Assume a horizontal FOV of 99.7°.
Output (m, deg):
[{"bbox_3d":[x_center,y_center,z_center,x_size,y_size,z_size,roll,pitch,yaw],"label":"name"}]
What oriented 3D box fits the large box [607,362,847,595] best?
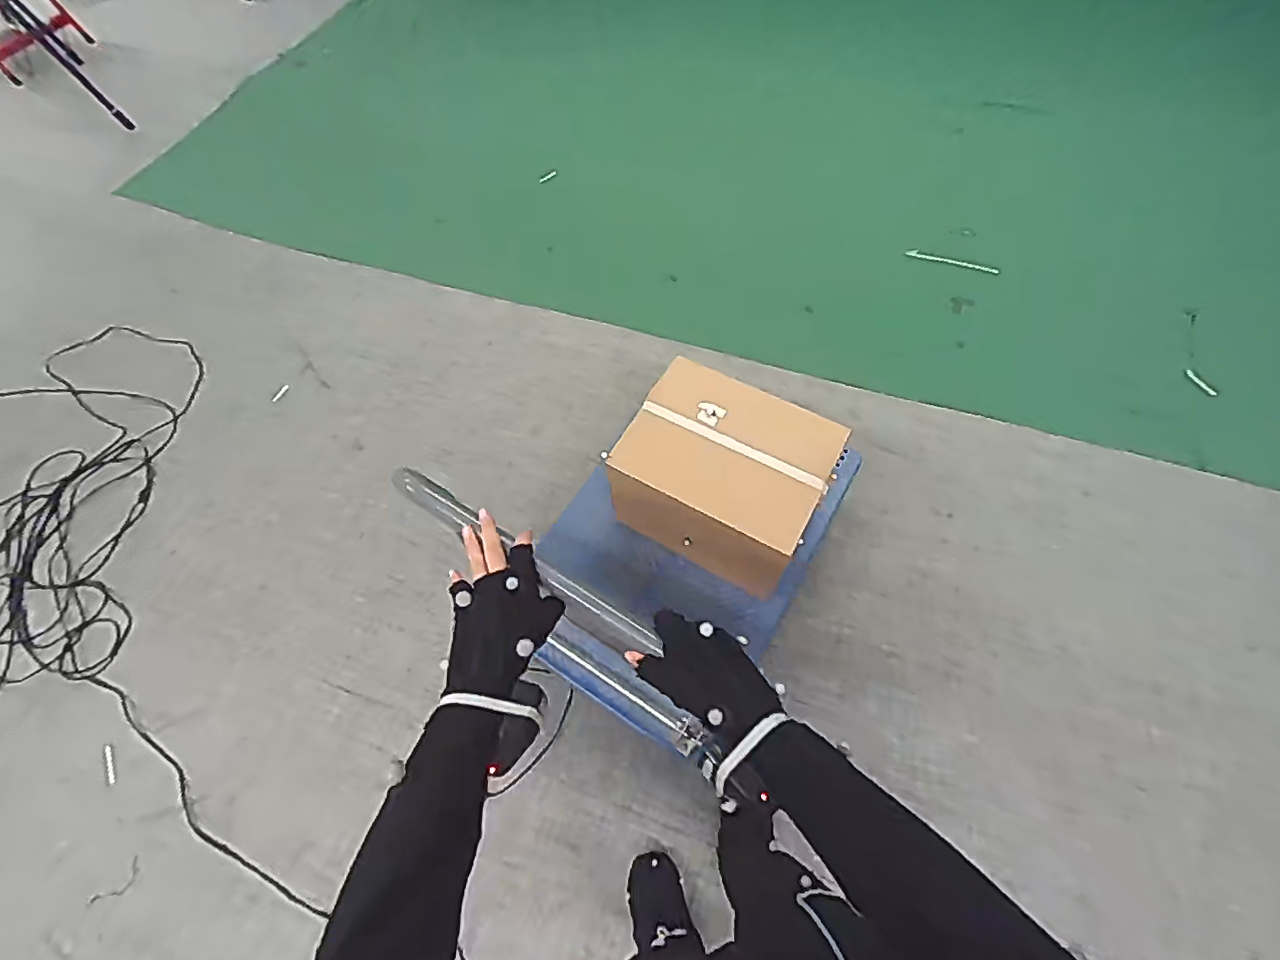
[{"bbox_3d":[0.188,0.005,1.229,0.408,0.320,0.320,27,66,16],"label":"large box"}]
